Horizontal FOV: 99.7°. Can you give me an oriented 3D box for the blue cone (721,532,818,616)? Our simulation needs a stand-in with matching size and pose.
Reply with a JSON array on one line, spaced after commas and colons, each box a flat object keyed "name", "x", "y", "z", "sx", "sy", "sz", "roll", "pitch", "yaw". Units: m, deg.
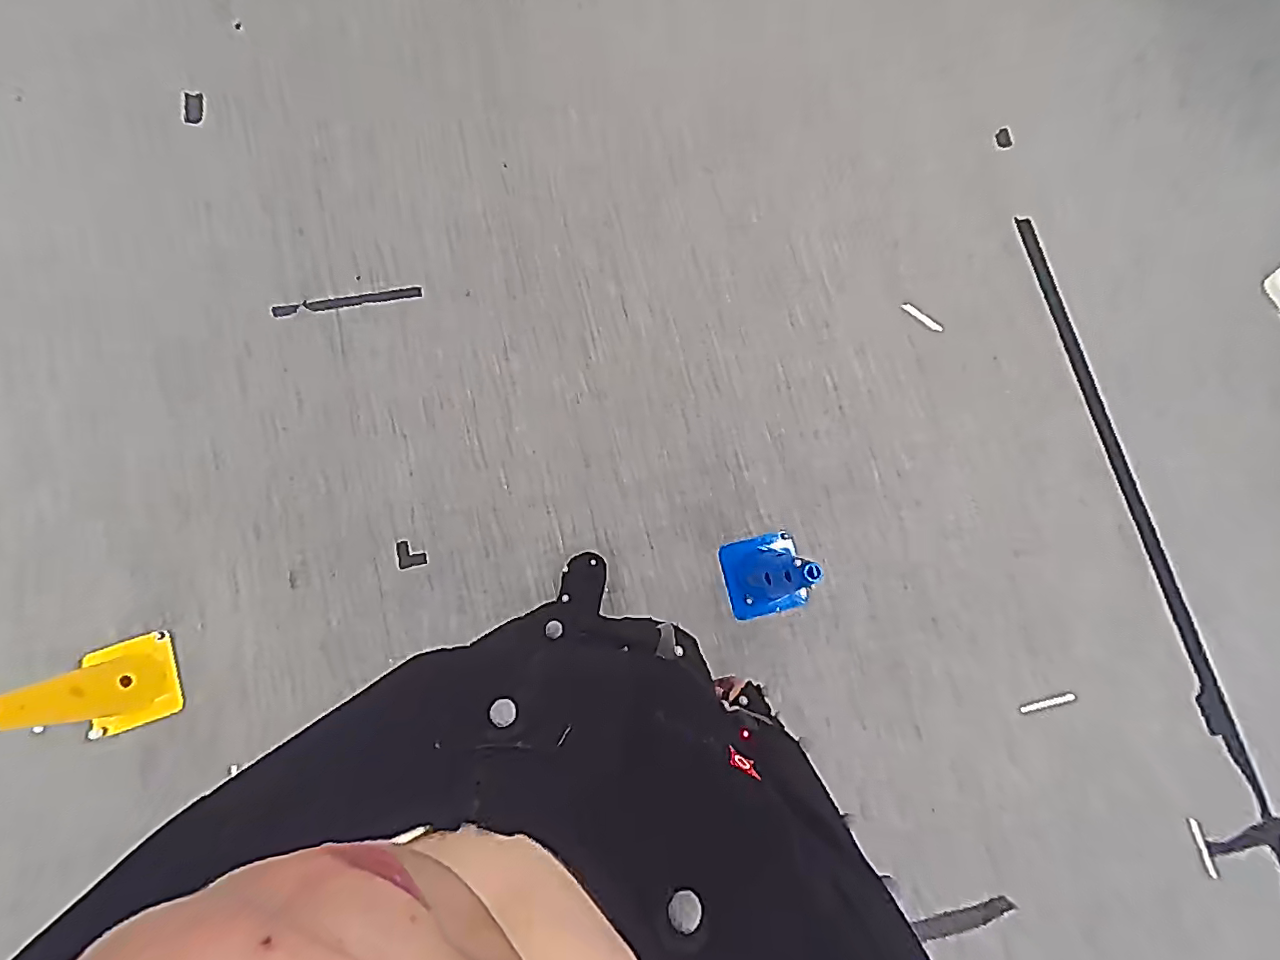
[{"name": "blue cone", "x": 0.323, "y": 0.210, "z": 1.230, "sx": 0.193, "sy": 0.380, "sz": 0.192, "roll": -11, "pitch": 79, "yaw": -5}]
